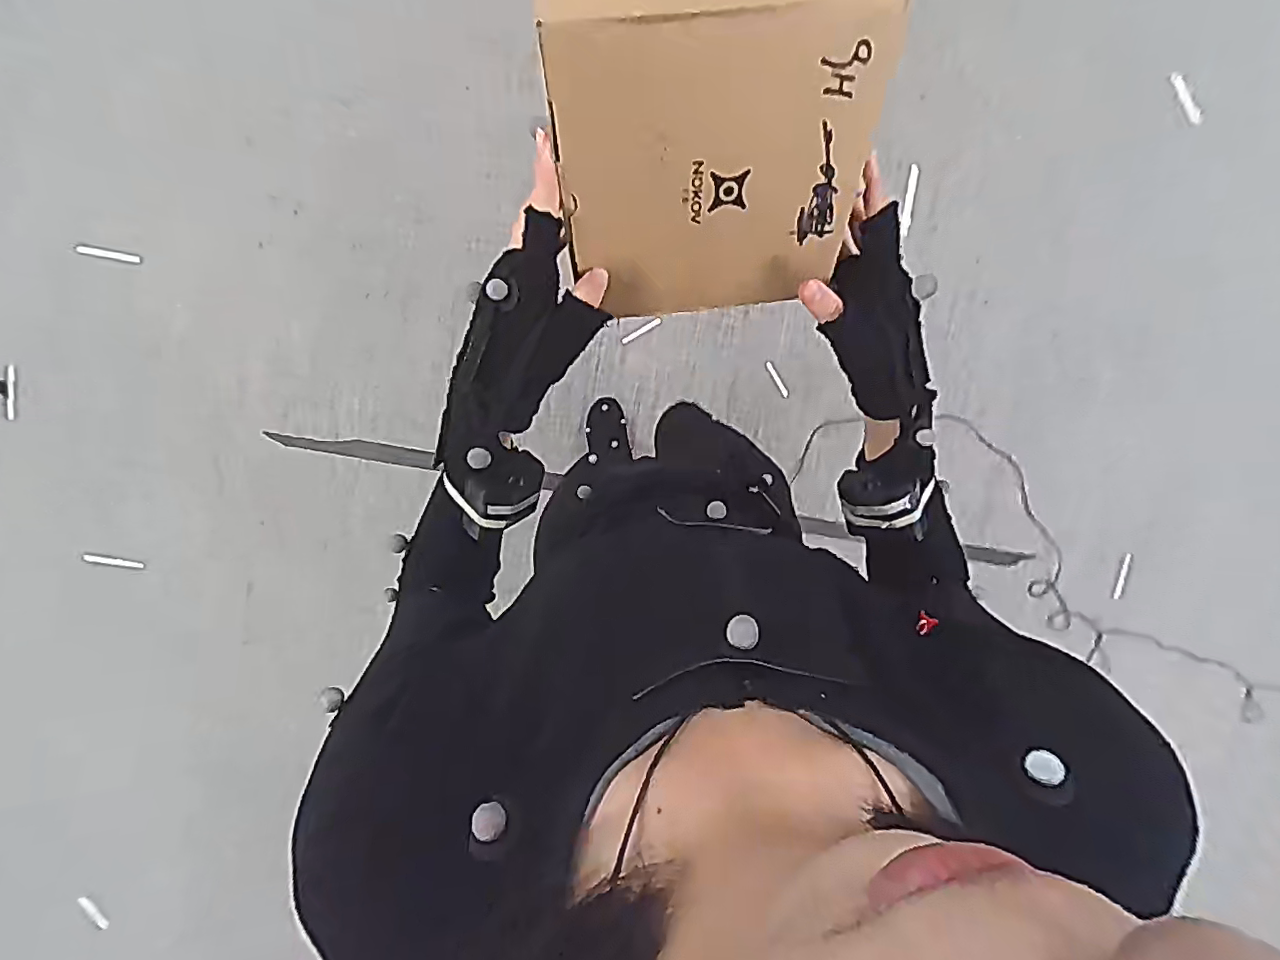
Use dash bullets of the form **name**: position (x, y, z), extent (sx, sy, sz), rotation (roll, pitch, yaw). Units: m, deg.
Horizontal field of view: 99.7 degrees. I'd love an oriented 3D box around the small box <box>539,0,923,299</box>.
- **small box**: position (0.039, -0.240, 0.344), extent (0.179, 0.168, 0.176), rotation (-5, 55, -1)
